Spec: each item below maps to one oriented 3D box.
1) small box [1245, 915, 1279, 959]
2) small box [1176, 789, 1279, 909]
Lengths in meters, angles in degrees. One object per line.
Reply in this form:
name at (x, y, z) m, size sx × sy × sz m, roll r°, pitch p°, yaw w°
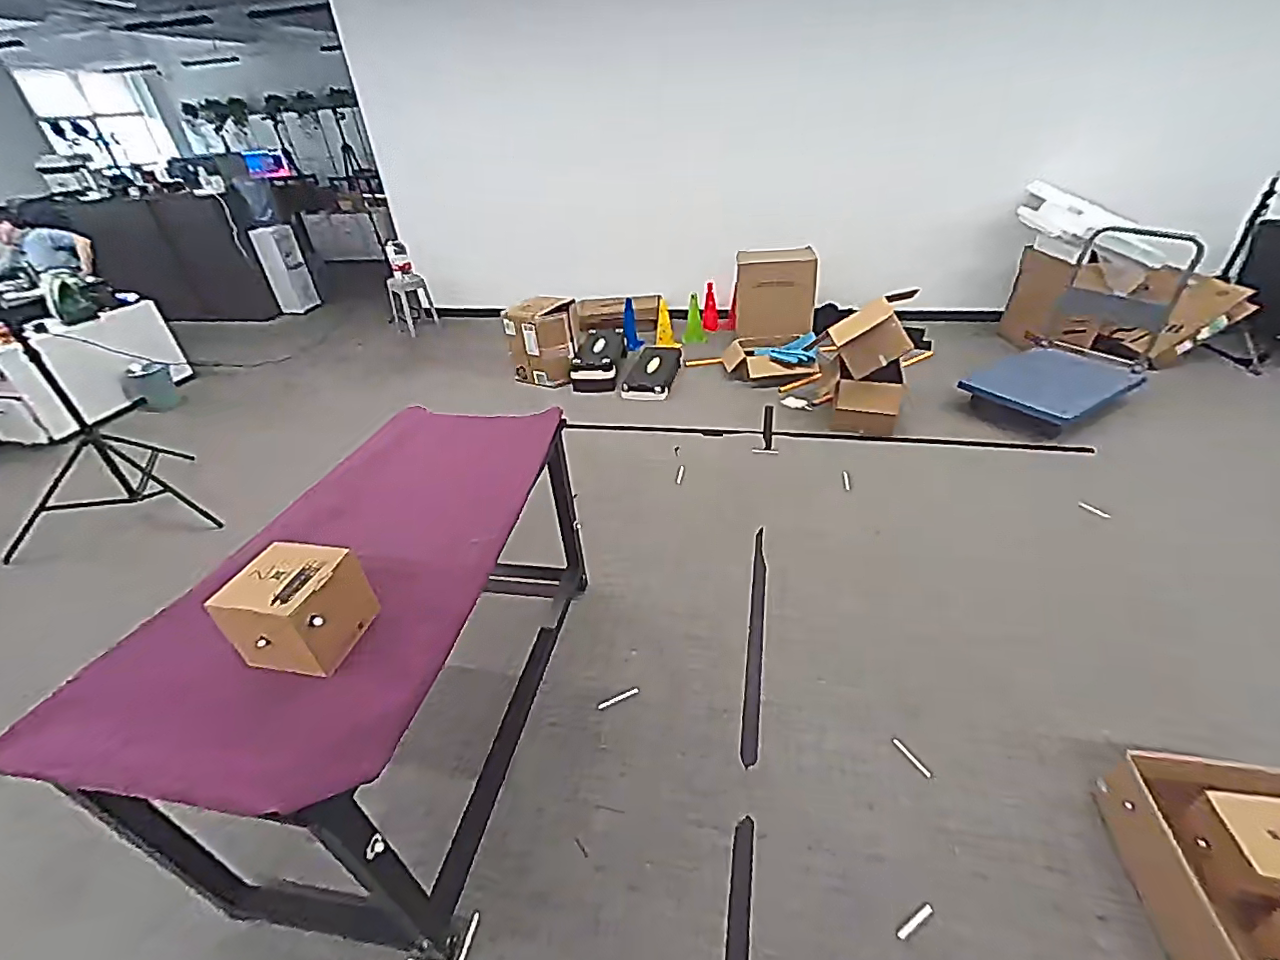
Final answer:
small box at (1.323, 0.936, 1.008) m, size 0.179 × 0.176 × 0.168 m, roll 6°, pitch 35°, yaw 15°
small box at (1.342, 0.810, 1.184) m, size 0.179 × 0.176 × 0.168 m, roll 2°, pitch 37°, yaw 9°
